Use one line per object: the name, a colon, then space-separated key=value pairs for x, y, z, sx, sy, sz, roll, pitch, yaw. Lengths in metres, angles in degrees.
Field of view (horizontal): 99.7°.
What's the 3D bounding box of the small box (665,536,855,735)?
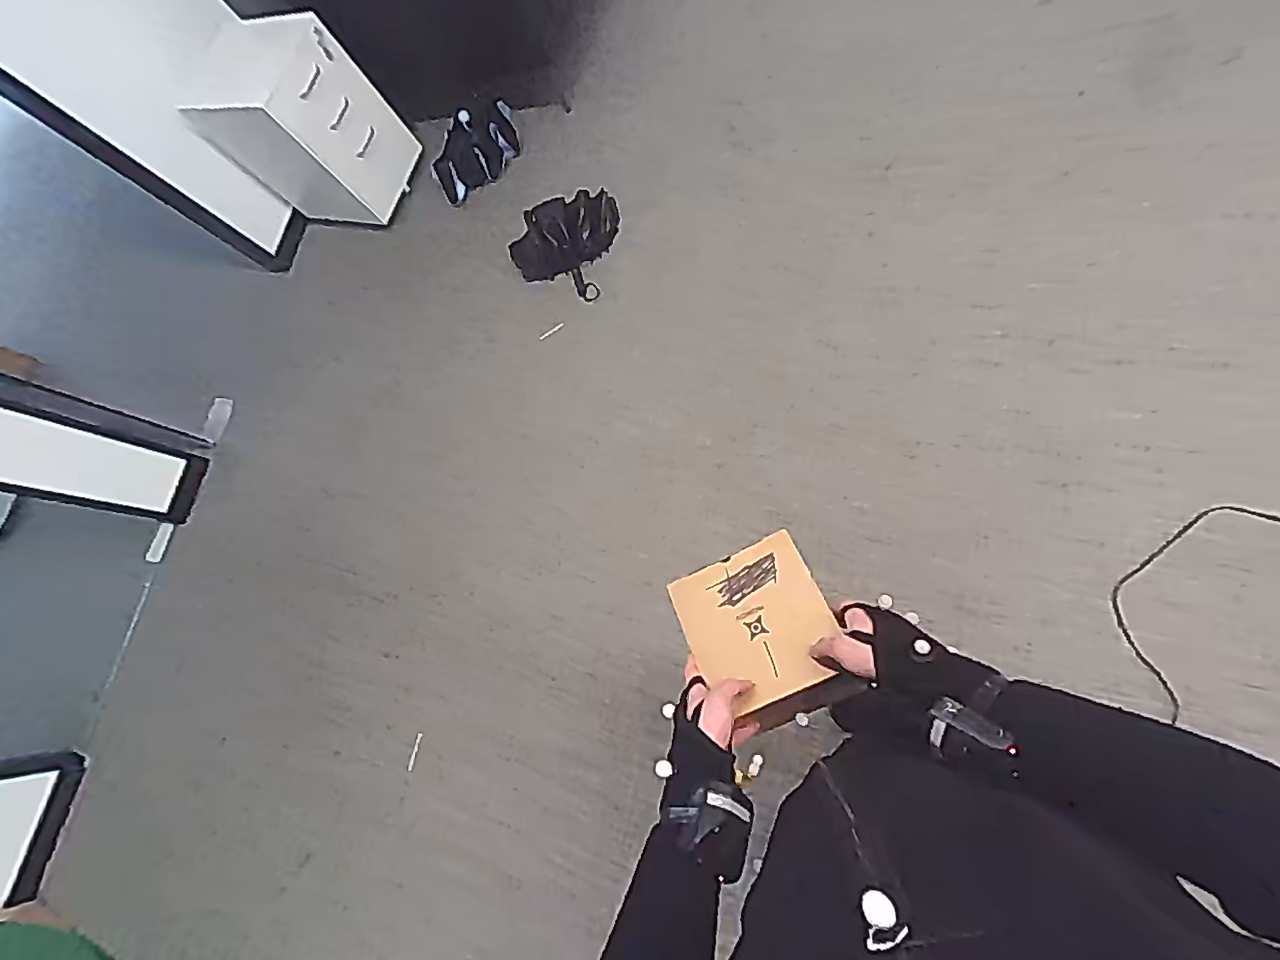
small box: x=0.155 y=0.206 z=0.694 sx=0.168 sy=0.176 sz=0.179 roll=-28 pitch=55 yaw=9
